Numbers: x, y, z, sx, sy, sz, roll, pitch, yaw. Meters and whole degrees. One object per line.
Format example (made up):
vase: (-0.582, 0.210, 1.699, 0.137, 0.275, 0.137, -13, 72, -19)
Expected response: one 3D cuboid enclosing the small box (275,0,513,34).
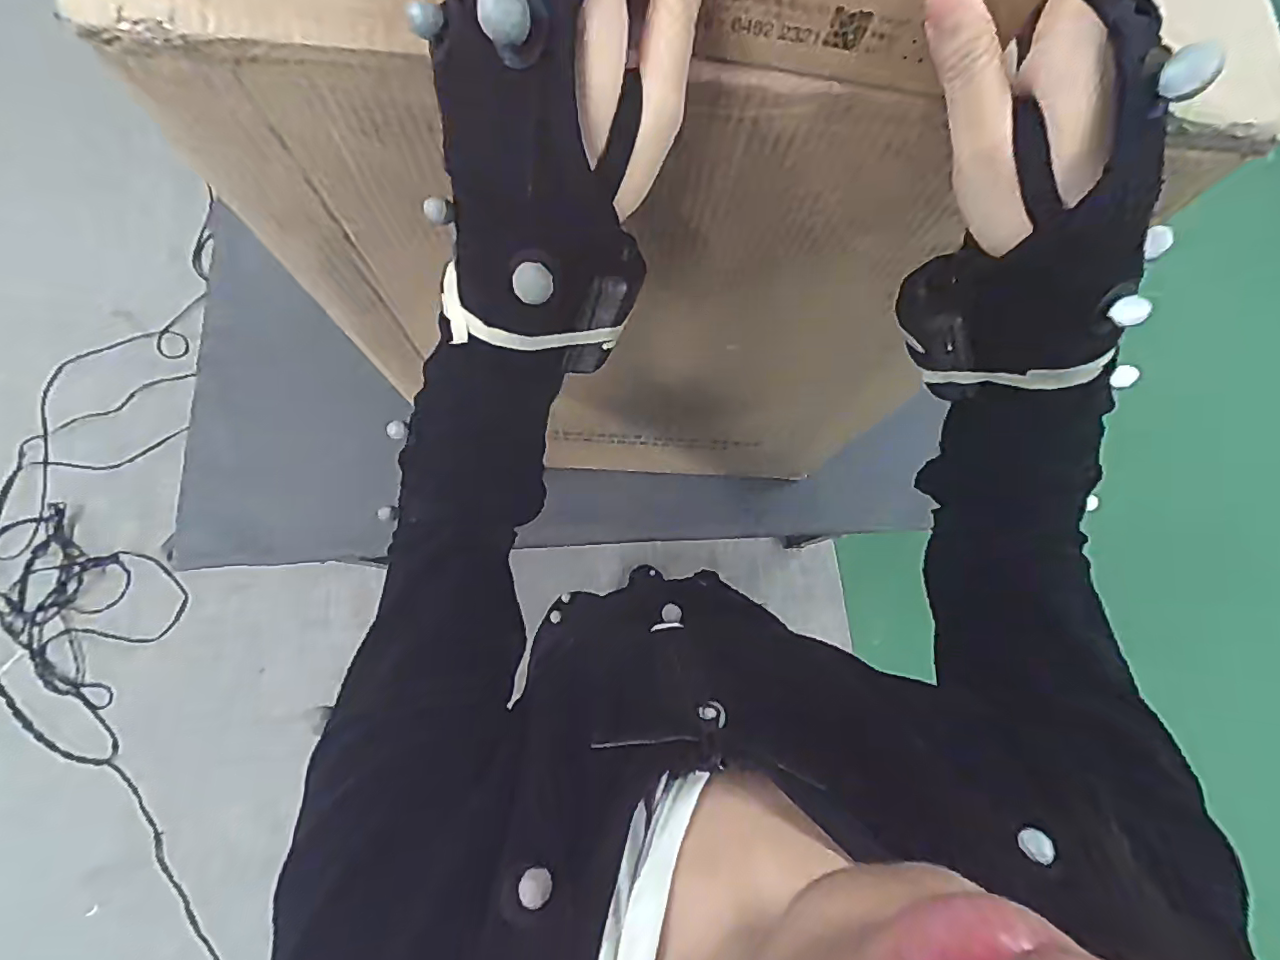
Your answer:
small box: (-0.121, -0.294, 0.160, 0.168, 0.176, 0.179, 6, 79, -3)
